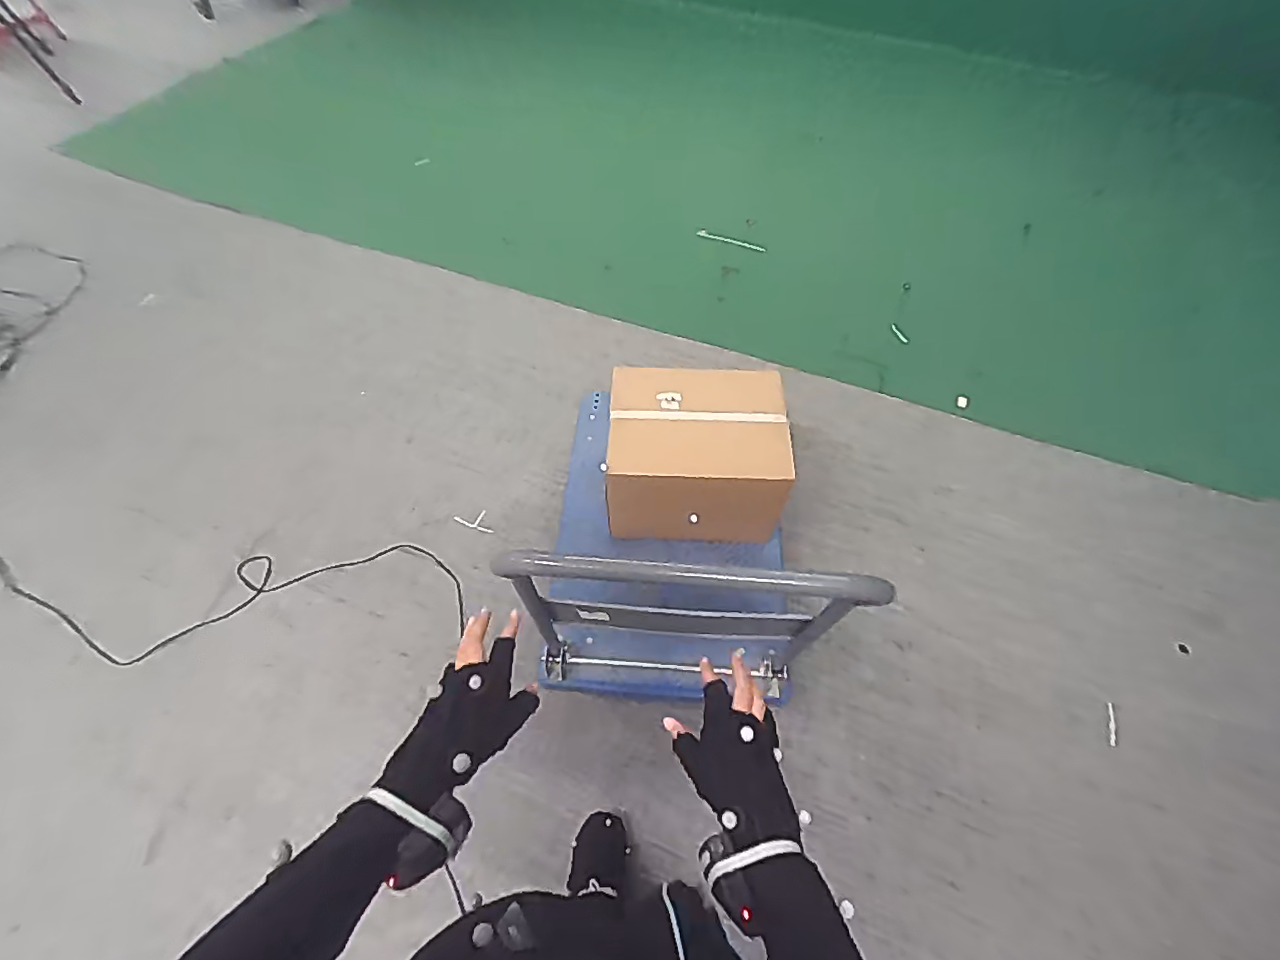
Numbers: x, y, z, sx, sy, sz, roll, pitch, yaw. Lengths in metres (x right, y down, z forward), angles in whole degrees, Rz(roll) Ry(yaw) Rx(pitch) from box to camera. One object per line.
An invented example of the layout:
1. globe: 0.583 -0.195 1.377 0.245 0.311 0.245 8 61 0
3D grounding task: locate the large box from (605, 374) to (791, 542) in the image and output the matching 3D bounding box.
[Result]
1. large box: 0.129 -0.047 1.351 0.408 0.320 0.320 1 57 2
